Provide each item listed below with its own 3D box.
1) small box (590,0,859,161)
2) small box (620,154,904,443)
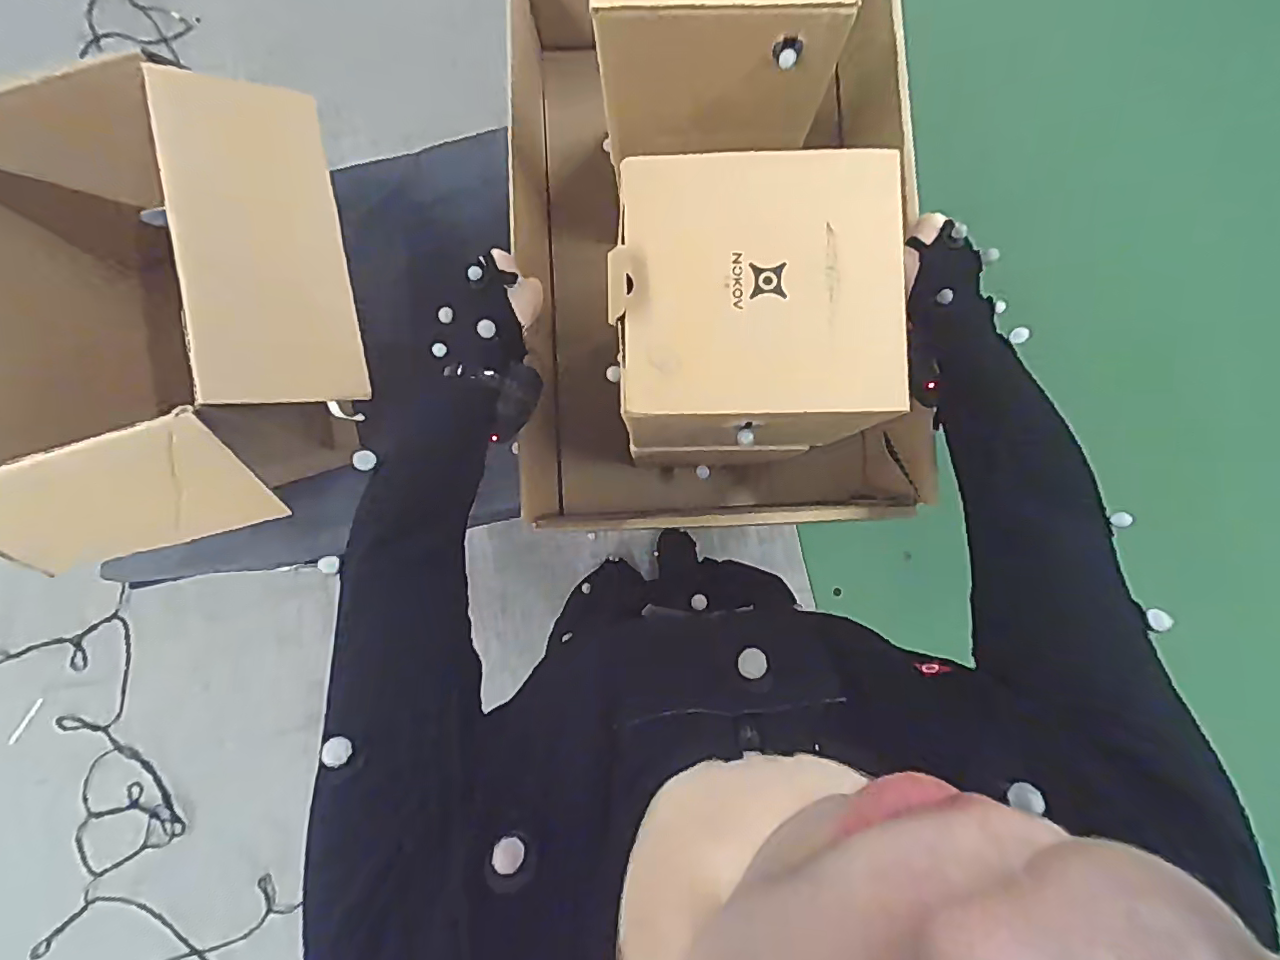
[{"bbox_3d":[0.057,-0.379,0.430,0.179,0.176,0.168,0,89,1],"label":"small box"},{"bbox_3d":[0.078,-0.119,0.419,0.179,0.176,0.168,-1,88,1],"label":"small box"}]
